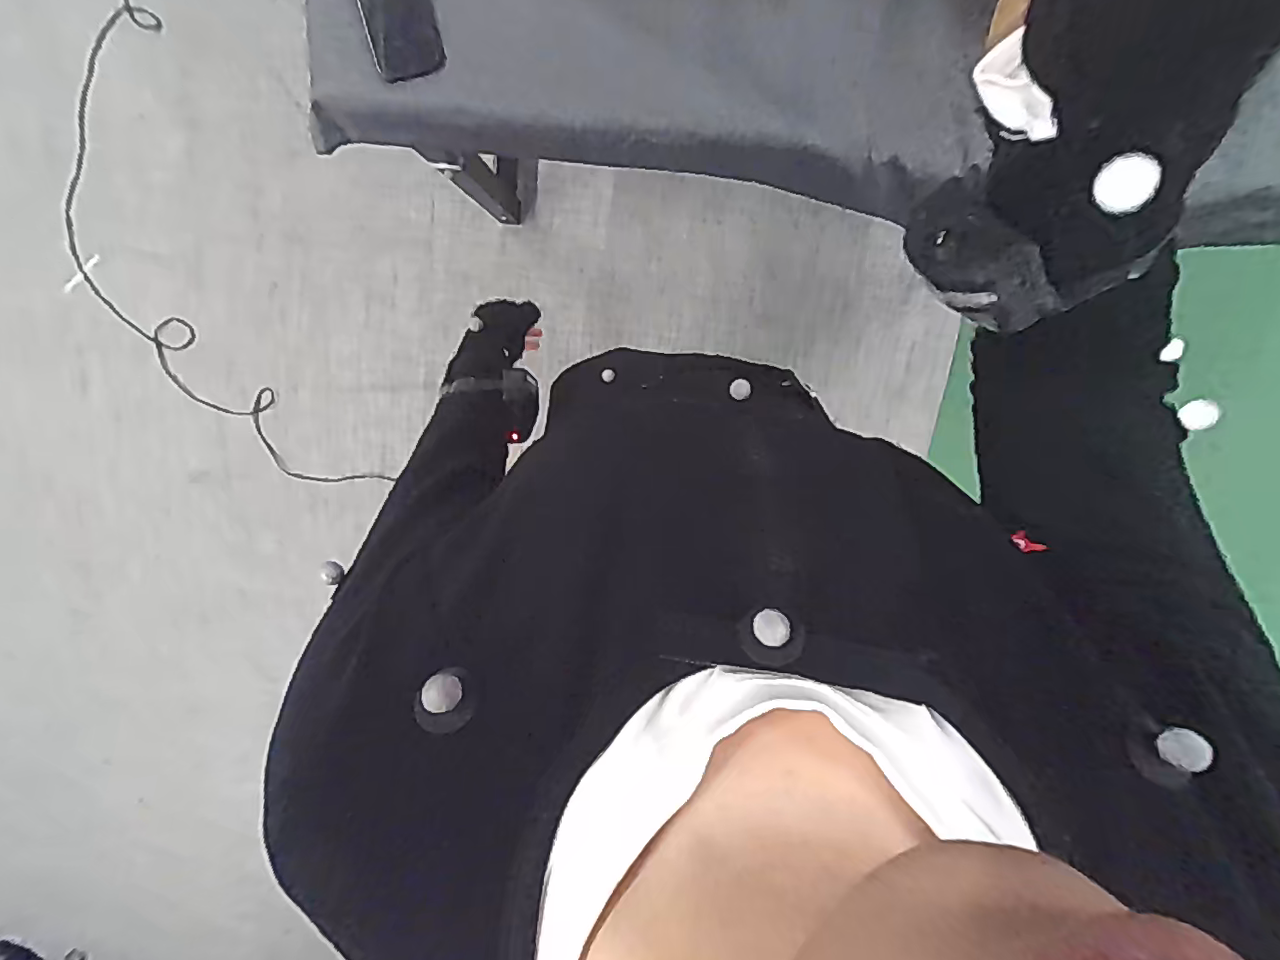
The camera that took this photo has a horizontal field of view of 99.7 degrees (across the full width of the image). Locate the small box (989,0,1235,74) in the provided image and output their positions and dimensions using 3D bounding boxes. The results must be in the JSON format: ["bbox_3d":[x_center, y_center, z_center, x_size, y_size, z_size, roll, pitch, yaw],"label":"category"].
[{"bbox_3d":[0.478,-0.534,0.517,0.168,0.176,0.179,11,104,-2],"label":"small box"}]
